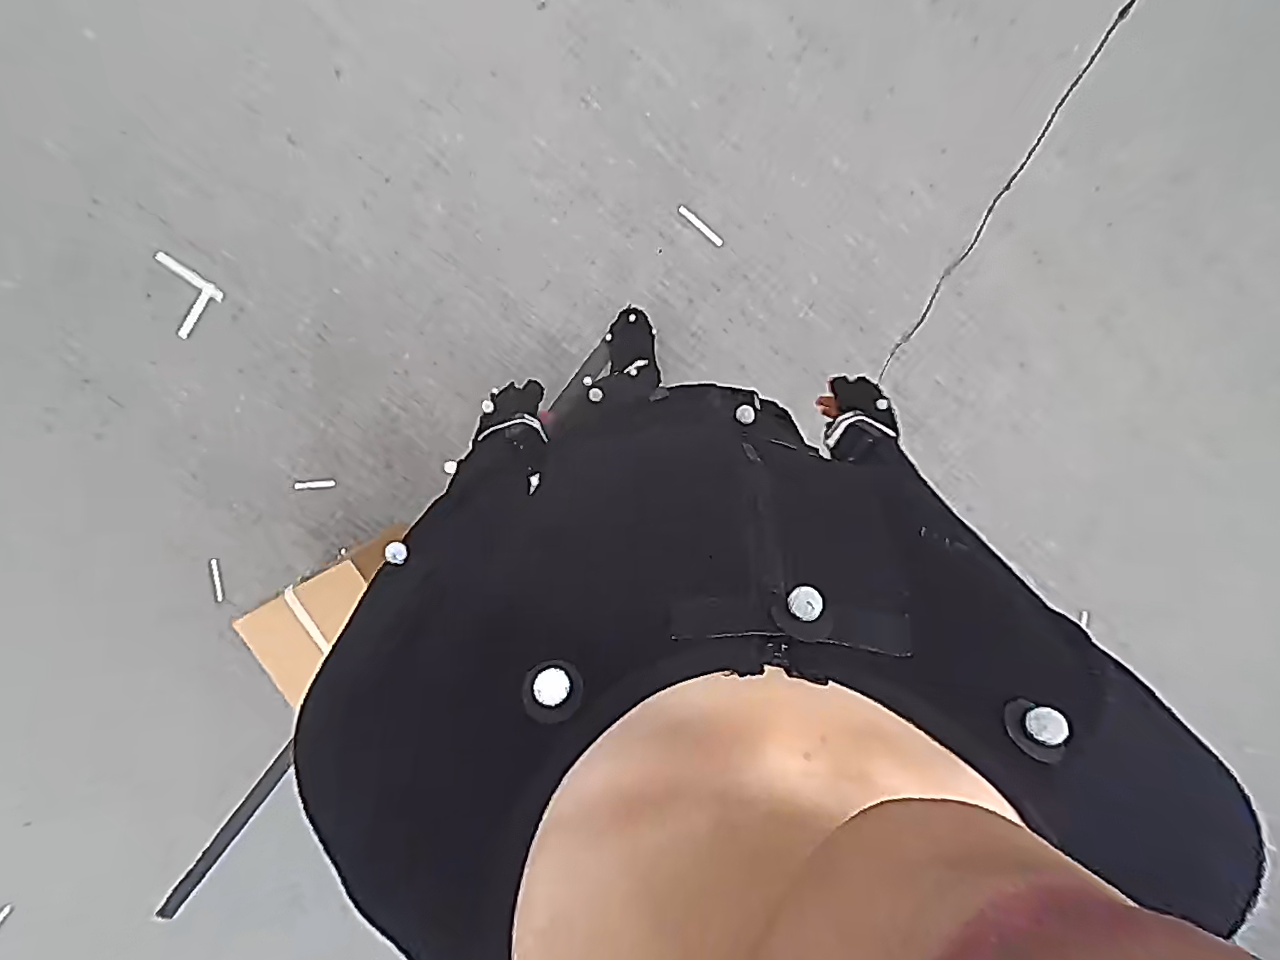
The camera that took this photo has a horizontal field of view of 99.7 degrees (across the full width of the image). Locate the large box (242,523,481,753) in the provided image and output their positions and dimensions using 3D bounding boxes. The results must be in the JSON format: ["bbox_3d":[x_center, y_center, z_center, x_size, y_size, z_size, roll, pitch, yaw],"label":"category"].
[{"bbox_3d":[-0.672,0.380,1.381,0.320,0.320,0.408,-28,101,3],"label":"large box"}]
